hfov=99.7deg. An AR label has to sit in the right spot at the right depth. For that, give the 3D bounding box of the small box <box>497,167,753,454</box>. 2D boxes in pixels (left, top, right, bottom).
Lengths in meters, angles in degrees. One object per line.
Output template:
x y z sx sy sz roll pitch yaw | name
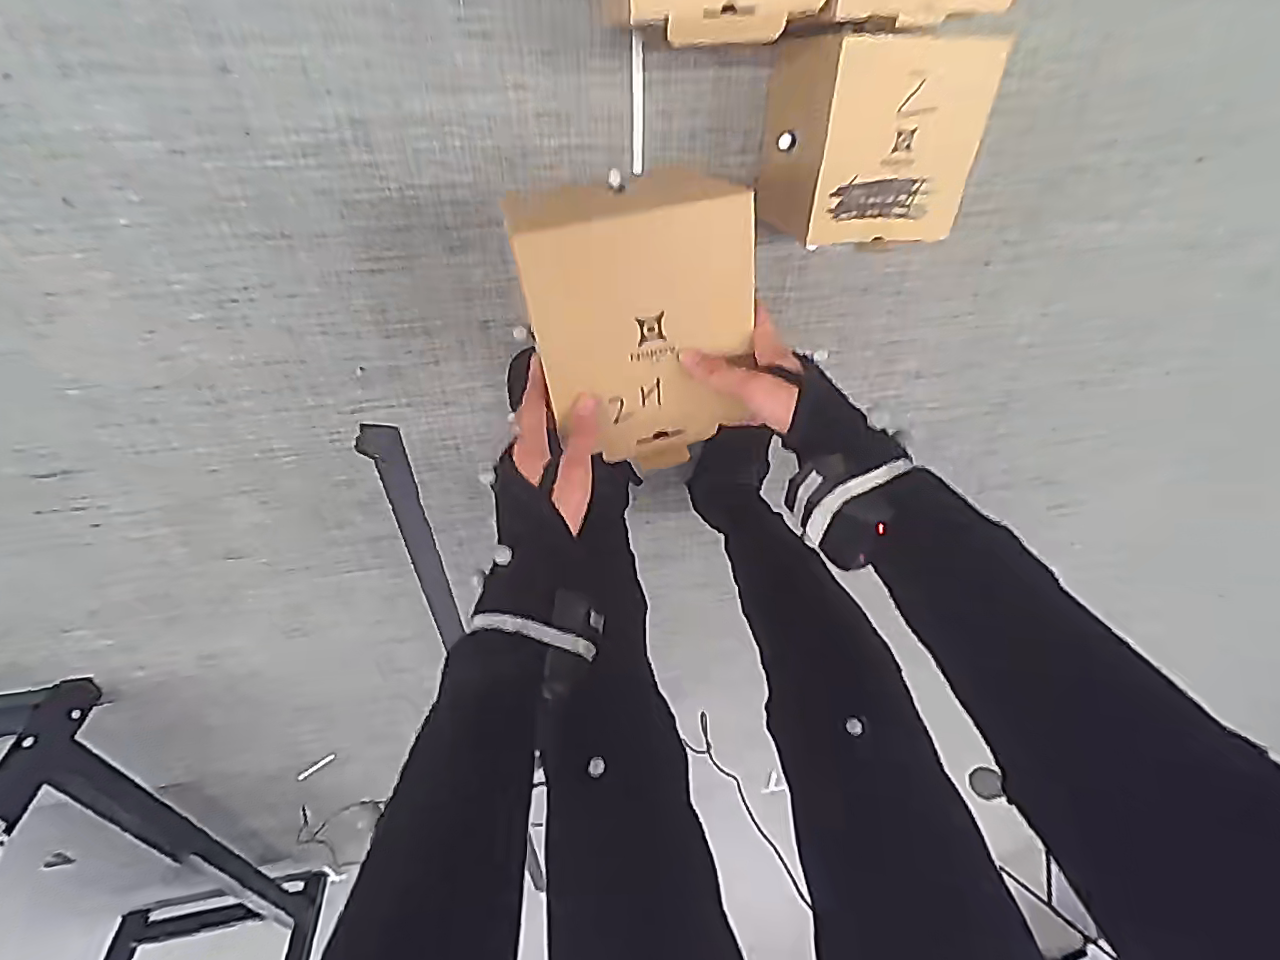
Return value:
-0.017 -0.152 0.456 0.168 0.176 0.179 -14 129 -8 | small box
